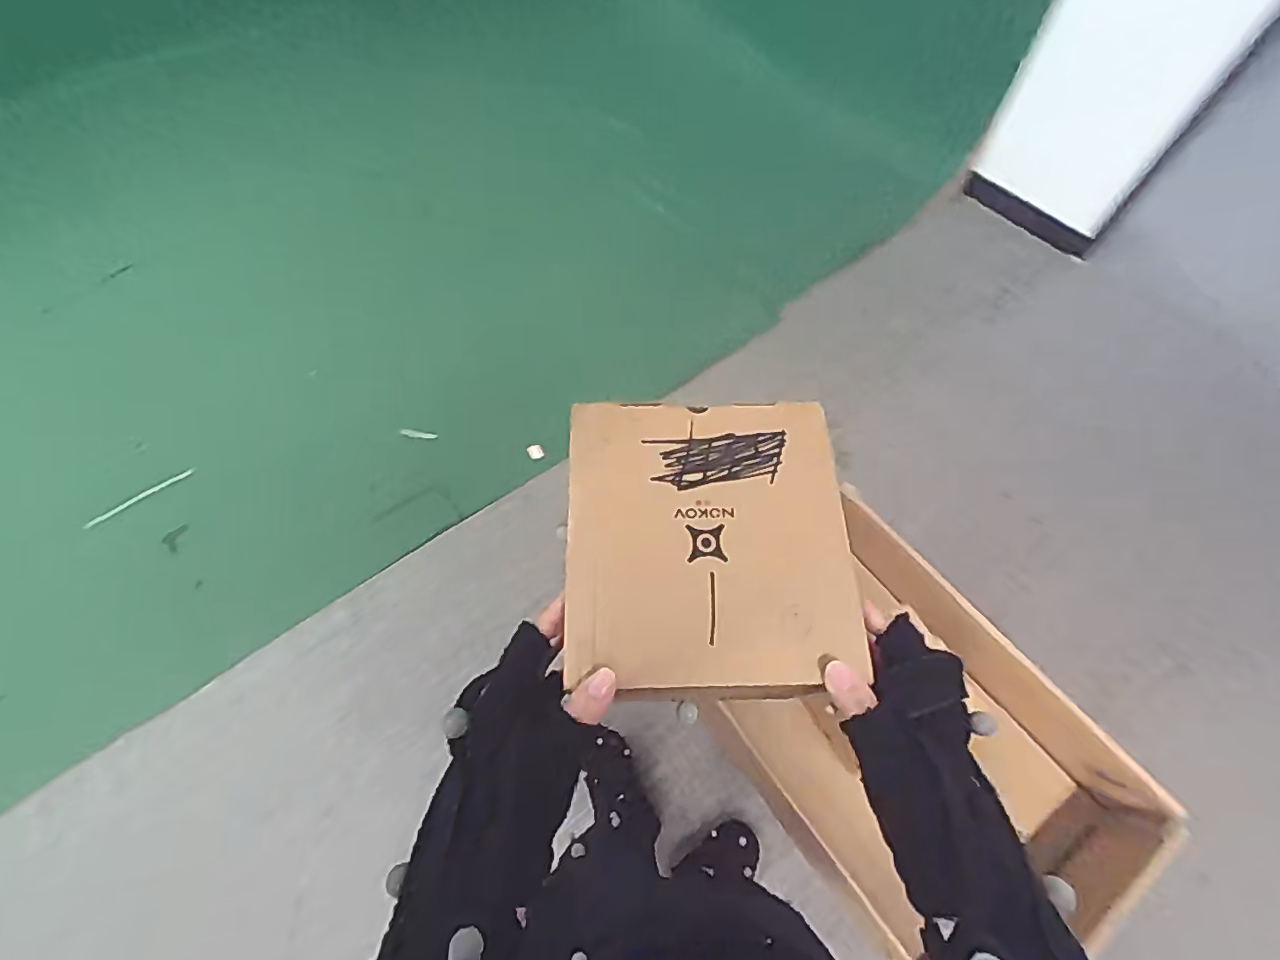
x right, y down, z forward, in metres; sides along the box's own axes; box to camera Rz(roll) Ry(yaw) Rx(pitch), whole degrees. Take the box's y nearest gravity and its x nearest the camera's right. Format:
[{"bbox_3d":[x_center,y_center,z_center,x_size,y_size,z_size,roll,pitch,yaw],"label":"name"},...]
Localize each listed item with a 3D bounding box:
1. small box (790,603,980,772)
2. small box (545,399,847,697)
[{"bbox_3d":[0.351,0.313,0.816,0.179,0.176,0.168,-26,65,-11],"label":"small box"},{"bbox_3d":[0.026,0.059,0.395,0.168,0.176,0.179,-2,66,-2],"label":"small box"}]
